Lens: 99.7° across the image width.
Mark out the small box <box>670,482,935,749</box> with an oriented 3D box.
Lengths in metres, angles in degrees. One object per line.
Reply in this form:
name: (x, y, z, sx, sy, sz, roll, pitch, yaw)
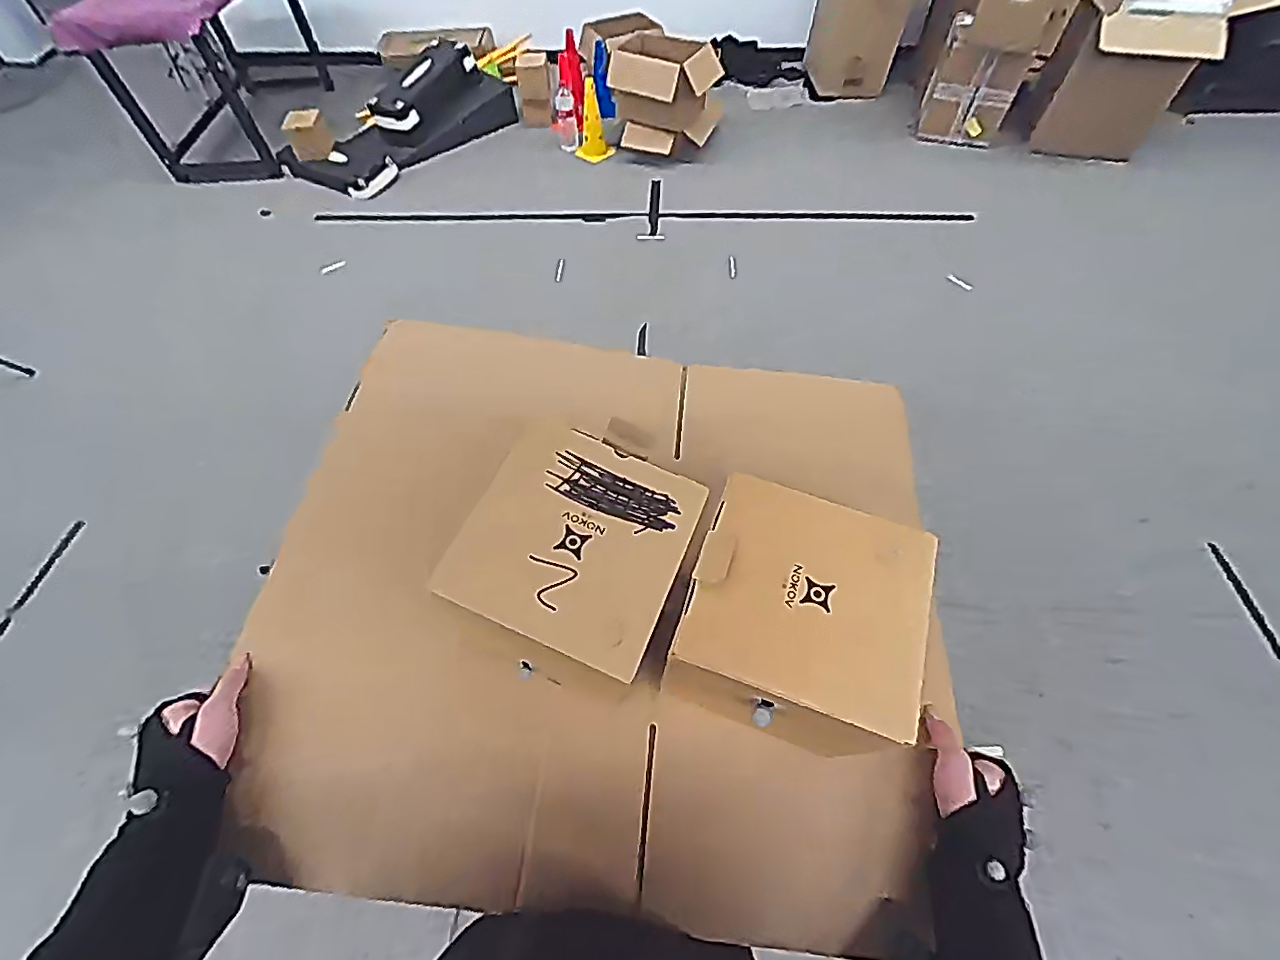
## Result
small box: (0.136, 0.131, 0.495, 0.179, 0.176, 0.168, 17, 62, 10)
